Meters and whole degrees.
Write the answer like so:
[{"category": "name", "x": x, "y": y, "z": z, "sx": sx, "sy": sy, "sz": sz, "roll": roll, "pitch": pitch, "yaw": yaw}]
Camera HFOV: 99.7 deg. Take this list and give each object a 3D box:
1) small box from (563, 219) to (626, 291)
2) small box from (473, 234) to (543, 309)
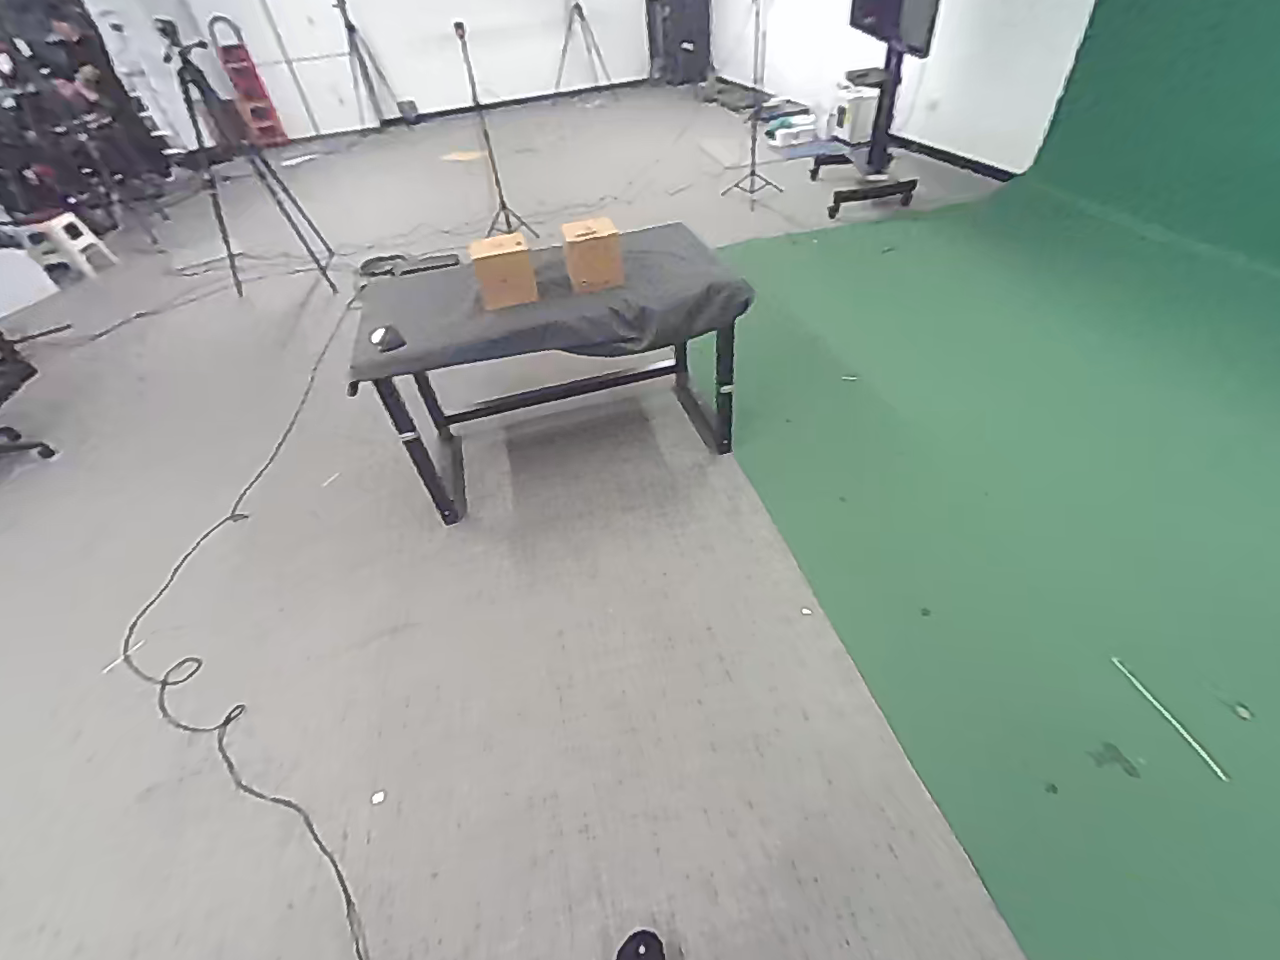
[{"category": "small box", "x": -0.148, "y": -0.733, "z": 1.774, "sx": 0.168, "sy": 0.176, "sz": 0.179, "roll": -13, "pitch": 43, "yaw": -6}, {"category": "small box", "x": -0.425, "y": -0.668, "z": 1.741, "sx": 0.179, "sy": 0.176, "sz": 0.168, "roll": -15, "pitch": 44, "yaw": -7}]
